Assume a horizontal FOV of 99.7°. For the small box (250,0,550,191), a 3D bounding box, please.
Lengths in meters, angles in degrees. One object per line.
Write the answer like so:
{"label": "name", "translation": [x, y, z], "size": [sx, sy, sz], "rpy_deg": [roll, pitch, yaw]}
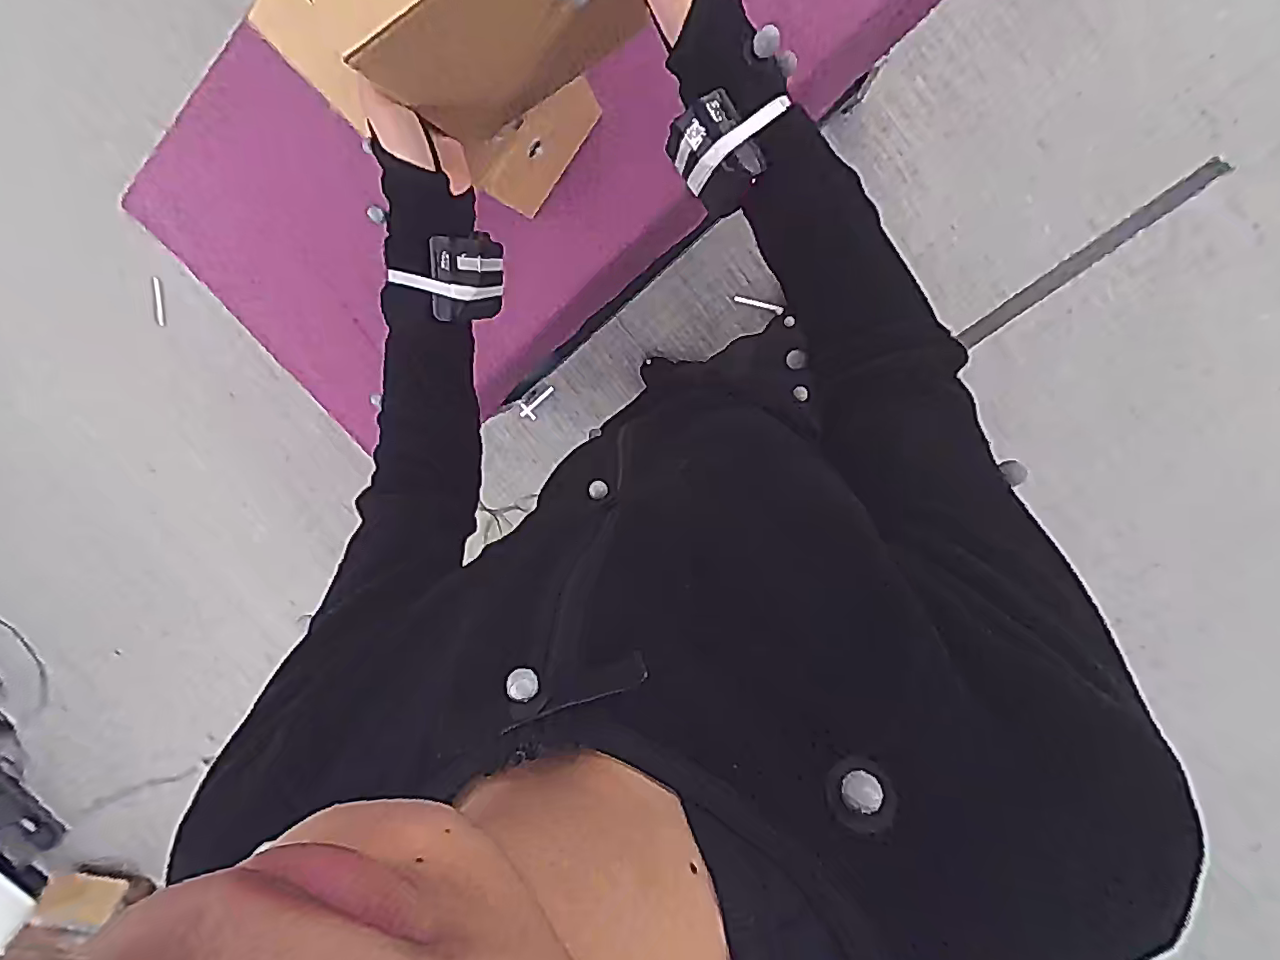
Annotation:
{"label": "small box", "translation": [-0.221, -0.428, 0.543], "size": [0.179, 0.176, 0.168], "rpy_deg": [45, 107, -6]}

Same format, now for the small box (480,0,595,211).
{"label": "small box", "translation": [-0.179, -0.481, 0.694], "size": [0.168, 0.176, 0.179], "rpy_deg": [39, 107, -4]}
